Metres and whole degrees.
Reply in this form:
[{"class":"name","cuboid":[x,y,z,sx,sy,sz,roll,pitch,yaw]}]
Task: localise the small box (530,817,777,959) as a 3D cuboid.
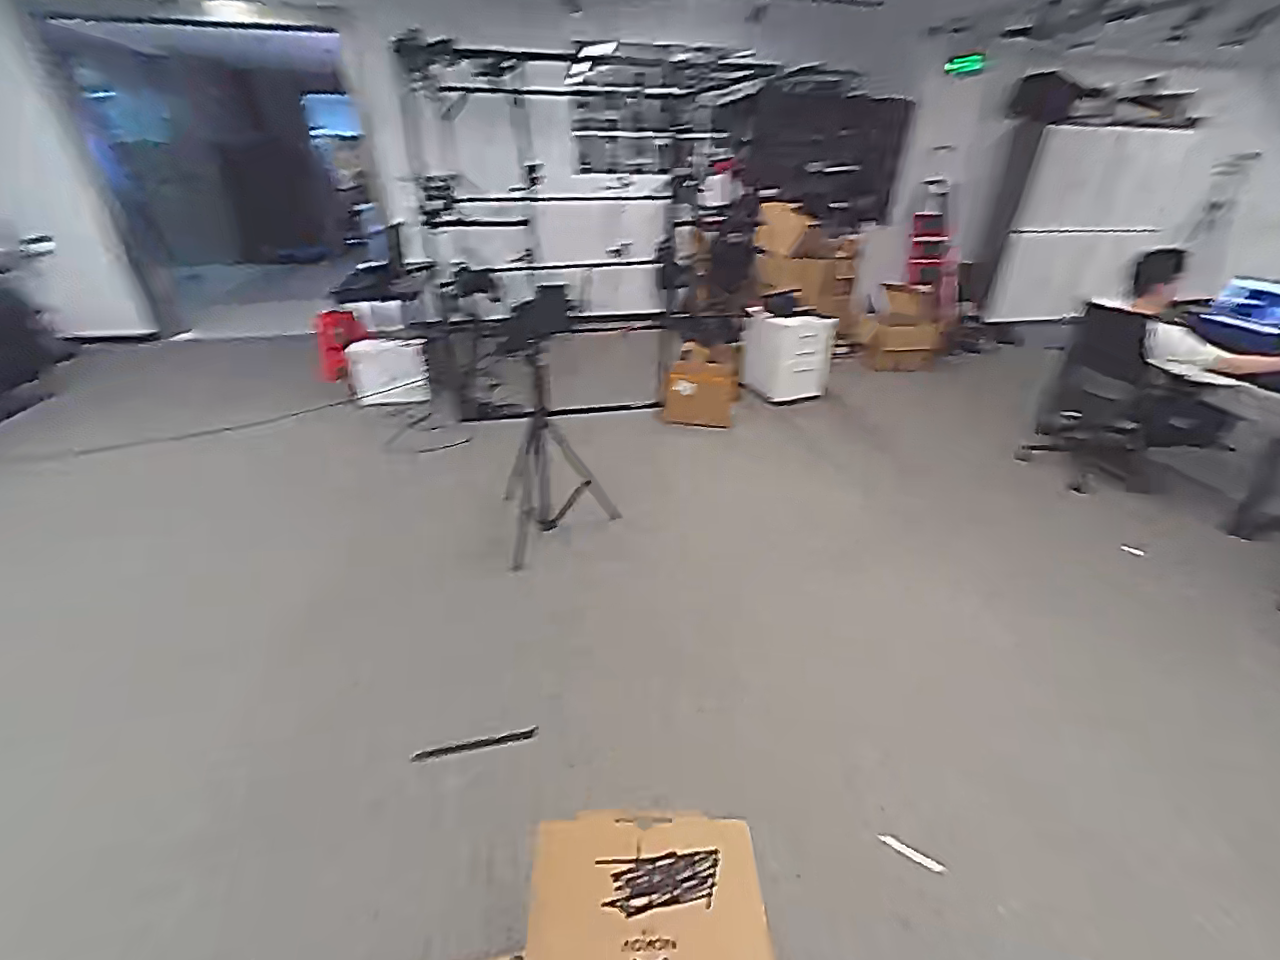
[{"class":"small box","cuboid":[0.001,0.379,0.392,0.168,0.176,0.179,2,33,-6]}]
